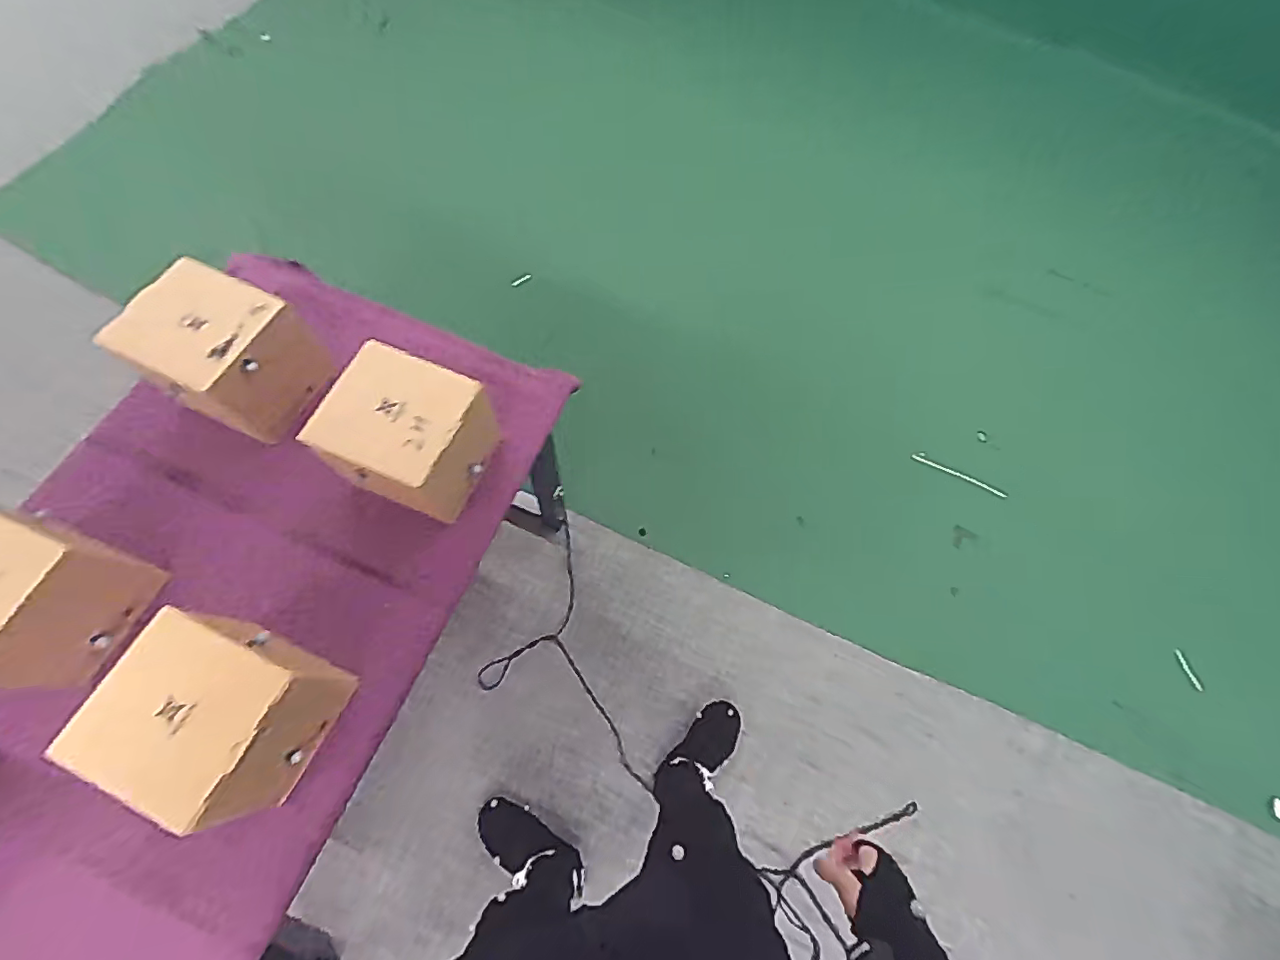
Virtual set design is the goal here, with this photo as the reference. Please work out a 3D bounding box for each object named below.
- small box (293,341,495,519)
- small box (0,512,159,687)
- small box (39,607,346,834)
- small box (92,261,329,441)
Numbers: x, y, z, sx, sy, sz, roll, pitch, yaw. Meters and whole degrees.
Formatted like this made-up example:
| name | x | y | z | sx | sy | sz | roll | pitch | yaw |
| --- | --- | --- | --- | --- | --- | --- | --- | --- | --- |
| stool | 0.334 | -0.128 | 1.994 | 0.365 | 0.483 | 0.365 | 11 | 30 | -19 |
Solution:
| name | x | y | z | sx | sy | sz | roll | pitch | yaw |
| --- | --- | --- | --- | --- | --- | --- | --- | --- | --- |
| small box | -0.334 | -0.061 | 0.775 | 0.179 | 0.176 | 0.168 | 22 | 69 | 5 |
| small box | -0.771 | 0.145 | 0.661 | 0.179 | 0.176 | 0.168 | 23 | 69 | 4 |
| small box | -0.493 | 0.272 | 0.630 | 0.179 | 0.176 | 0.168 | 24 | 68 | 6 |
| small box | -0.618 | -0.182 | 0.806 | 0.179 | 0.176 | 0.168 | 24 | 69 | 6 |
